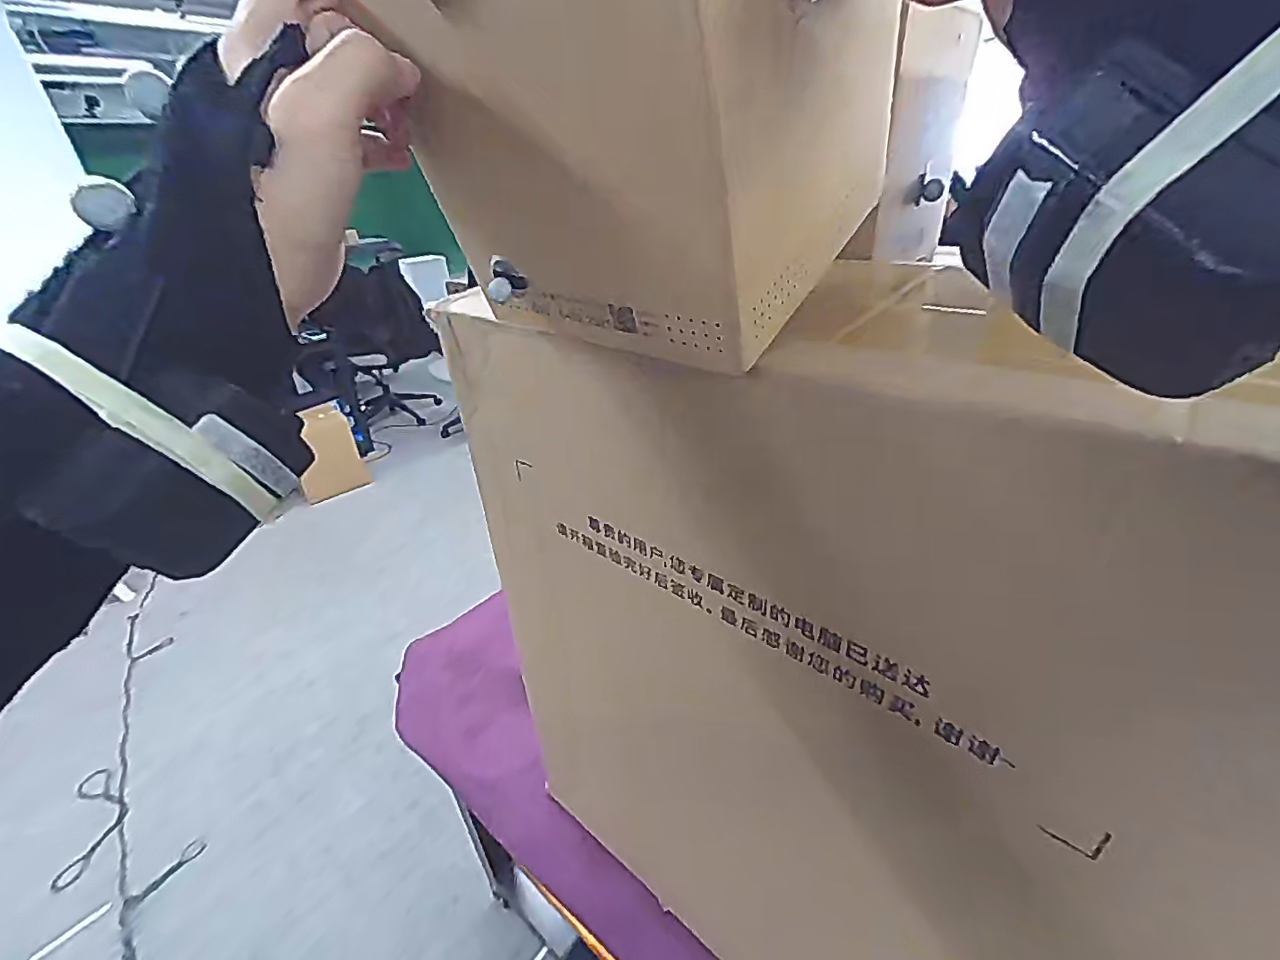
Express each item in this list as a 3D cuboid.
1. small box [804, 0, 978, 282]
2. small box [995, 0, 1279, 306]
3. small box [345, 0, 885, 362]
[{"bbox_3d":[0.143,-0.267,0.449,0.179,0.176,0.168,22,39,35],"label":"small box"},{"bbox_3d":[0.337,-0.202,0.315,0.179,0.176,0.168,15,35,34],"label":"small box"},{"bbox_3d":[0.010,-0.181,0.260,0.168,0.176,0.179,21,57,30],"label":"small box"}]
